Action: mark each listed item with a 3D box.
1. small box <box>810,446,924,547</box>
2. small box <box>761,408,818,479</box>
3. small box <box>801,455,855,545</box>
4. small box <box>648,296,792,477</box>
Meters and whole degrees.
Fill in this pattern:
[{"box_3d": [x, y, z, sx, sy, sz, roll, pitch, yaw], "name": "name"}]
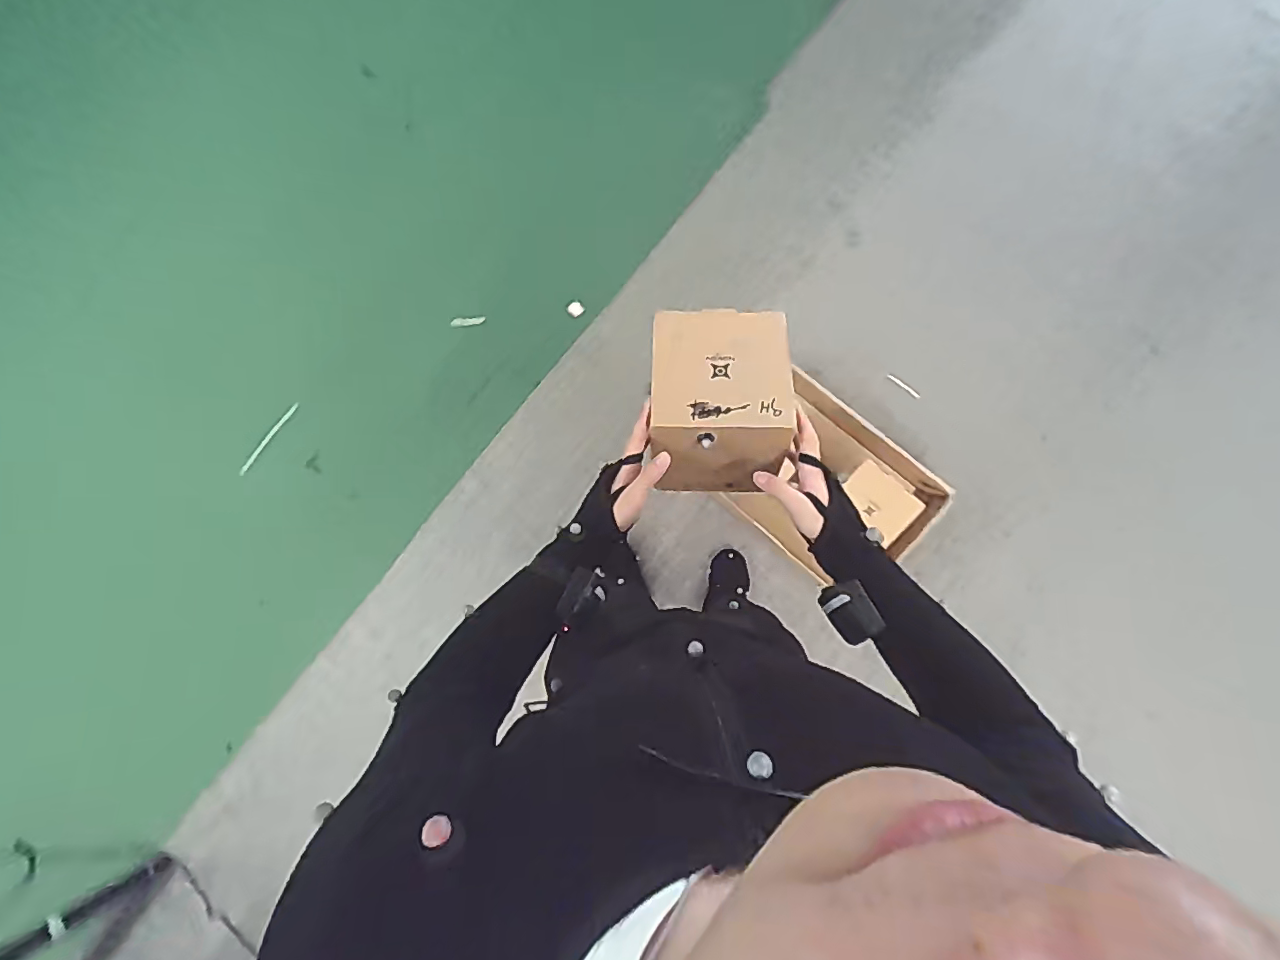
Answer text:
[{"box_3d": [0.535, 0.042, 1.307, 0.168, 0.176, 0.179, 43, 93, 10], "name": "small box"}, {"box_3d": [0.364, -0.115, 1.505, 0.168, 0.176, 0.179, 40, 92, 7], "name": "small box"}, {"box_3d": [0.557, 0.058, 1.468, 0.168, 0.176, 0.179, 41, 92, 9], "name": "small box"}, {"box_3d": [0.095, -0.120, 0.717, 0.168, 0.176, 0.179, 0, 64, 3], "name": "small box"}]
